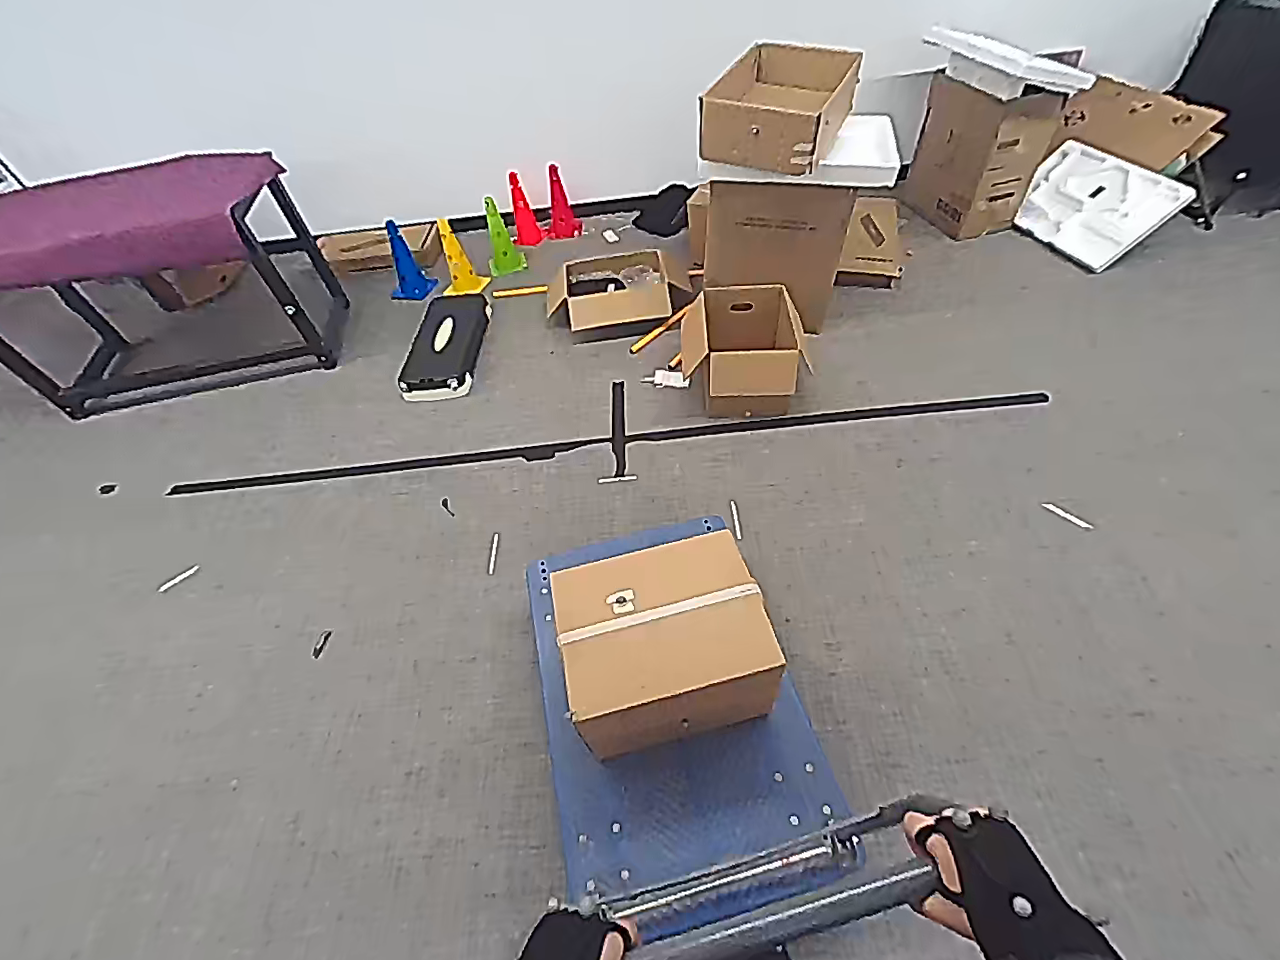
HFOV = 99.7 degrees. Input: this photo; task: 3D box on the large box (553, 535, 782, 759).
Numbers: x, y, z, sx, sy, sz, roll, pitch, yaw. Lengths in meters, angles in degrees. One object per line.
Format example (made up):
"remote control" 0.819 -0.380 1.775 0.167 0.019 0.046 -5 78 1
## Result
"large box" 0.056 0.375 1.202 0.408 0.320 0.320 -15 50 -4
